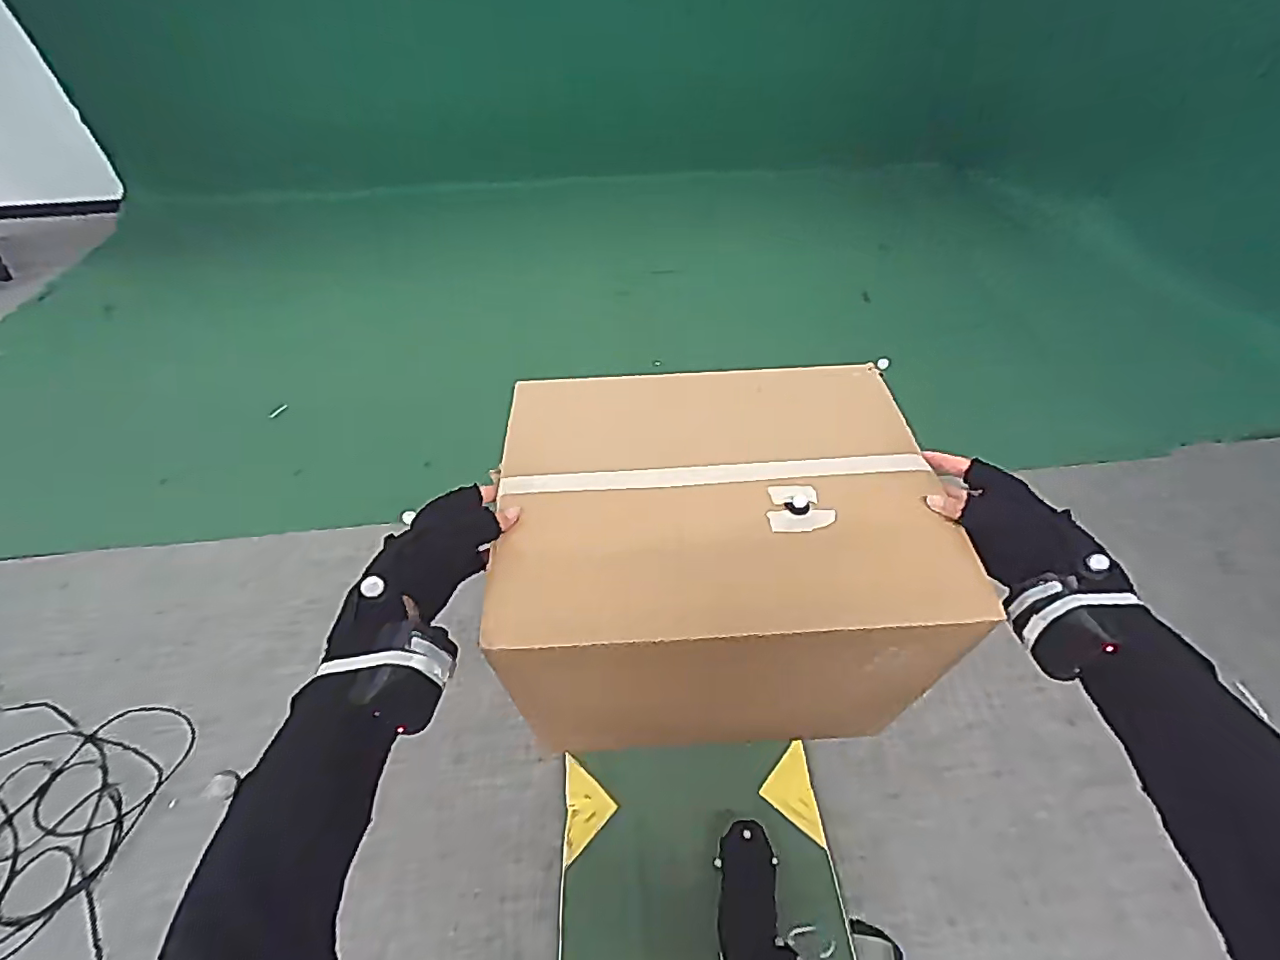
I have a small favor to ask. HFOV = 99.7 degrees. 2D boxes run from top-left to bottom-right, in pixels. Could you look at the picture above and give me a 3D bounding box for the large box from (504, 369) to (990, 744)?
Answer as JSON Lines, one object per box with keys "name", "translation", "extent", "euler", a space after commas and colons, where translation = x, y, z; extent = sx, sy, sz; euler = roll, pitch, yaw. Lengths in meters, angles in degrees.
{"name": "large box", "translation": [0.079, 0.094, 0.638], "extent": [0.408, 0.320, 0.320], "euler": [-3, 51, -2]}
